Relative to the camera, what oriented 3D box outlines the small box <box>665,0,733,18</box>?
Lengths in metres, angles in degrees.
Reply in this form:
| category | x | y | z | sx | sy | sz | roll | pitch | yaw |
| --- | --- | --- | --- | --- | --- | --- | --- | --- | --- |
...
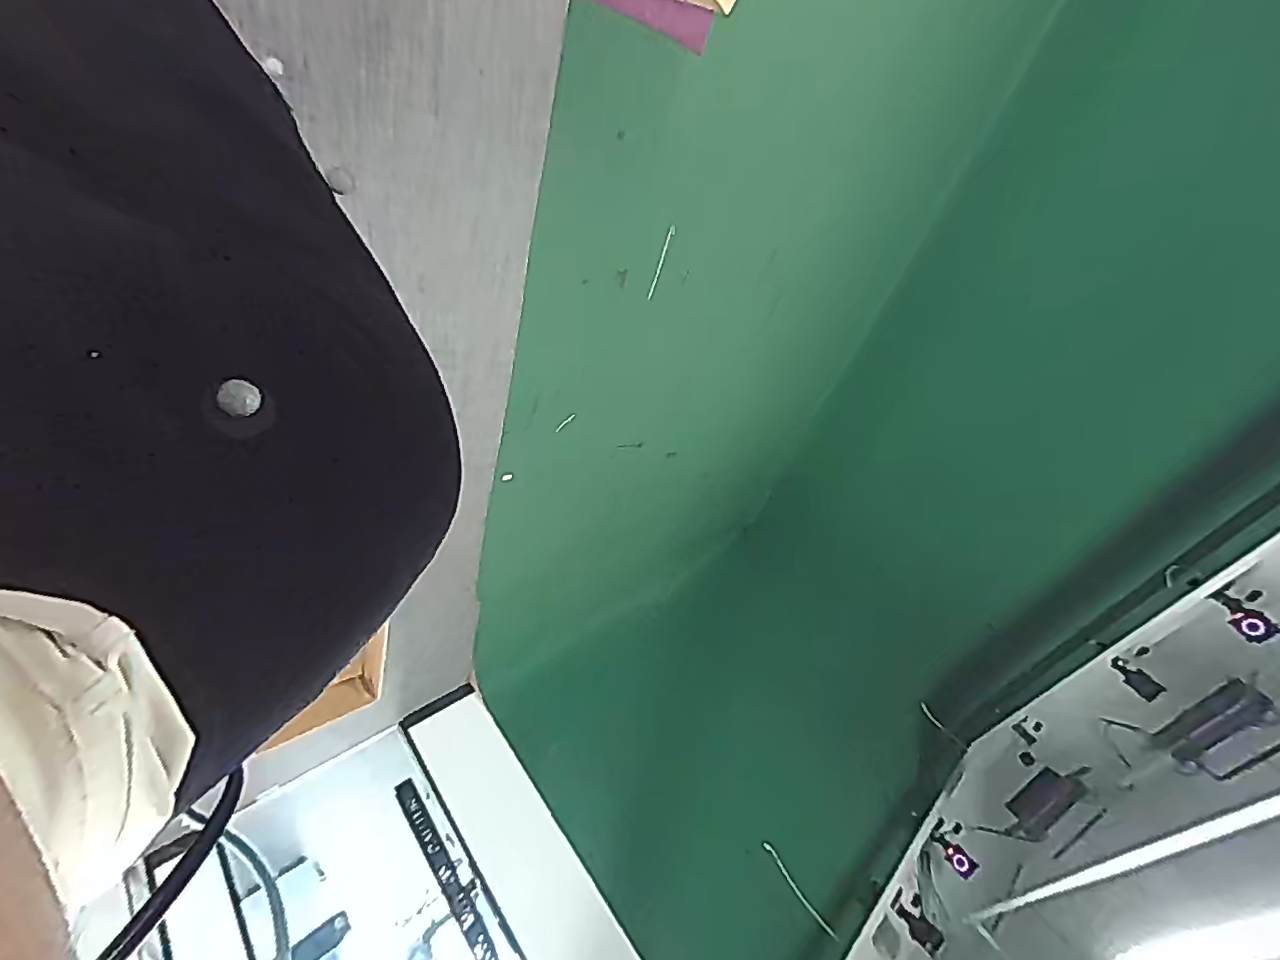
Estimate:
| category | x | y | z | sx | sy | sz | roll | pitch | yaw |
| --- | --- | --- | --- | --- | --- | --- | --- | --- | --- |
| small box | 0.059 | -0.769 | 0.710 | 0.168 | 0.176 | 0.179 | 0 | 127 | -53 |
